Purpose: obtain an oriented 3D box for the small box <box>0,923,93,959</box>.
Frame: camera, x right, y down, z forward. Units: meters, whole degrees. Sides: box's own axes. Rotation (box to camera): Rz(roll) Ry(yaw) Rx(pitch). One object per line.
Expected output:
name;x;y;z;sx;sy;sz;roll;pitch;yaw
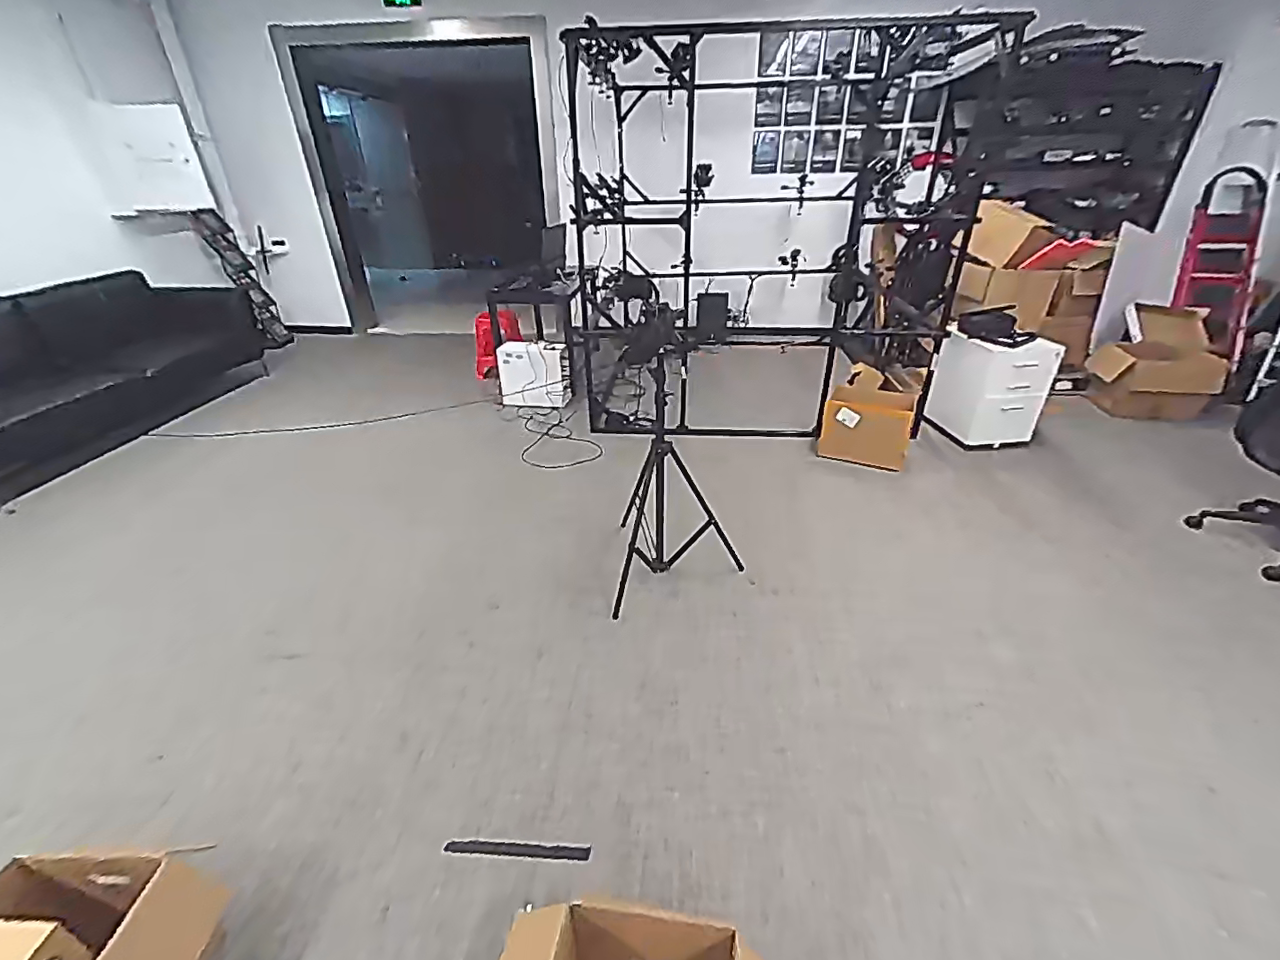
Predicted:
small box;-1.071;0.877;0.894;0.168;0.176;0.179;-1;30;2
